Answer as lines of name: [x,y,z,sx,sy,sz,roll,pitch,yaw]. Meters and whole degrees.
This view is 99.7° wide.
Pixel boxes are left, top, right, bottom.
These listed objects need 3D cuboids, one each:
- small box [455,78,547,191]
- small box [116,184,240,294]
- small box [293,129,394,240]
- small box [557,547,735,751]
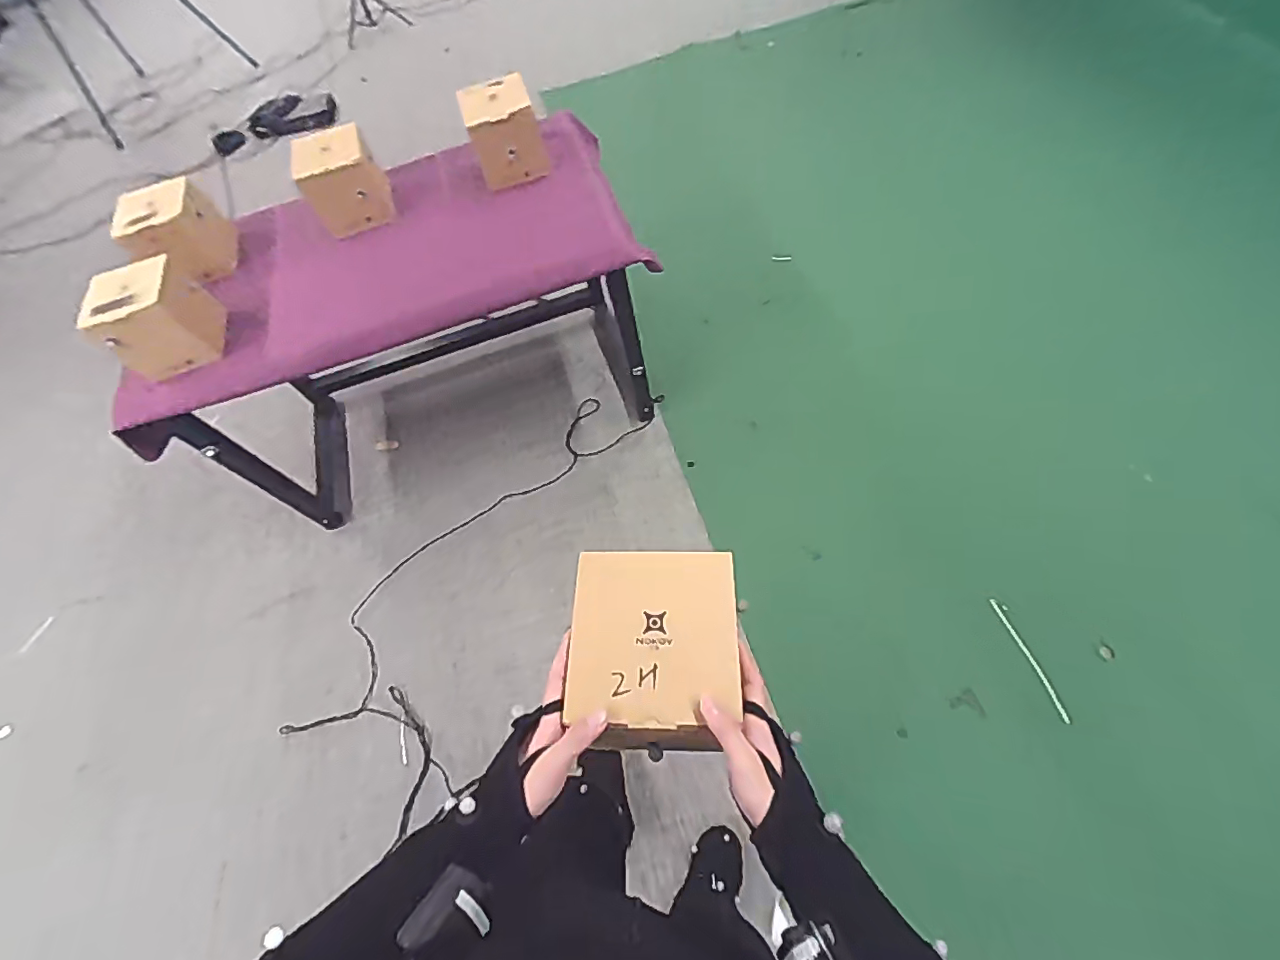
small box: [-0.348,-0.866,1.374,0.168,0.176,0.179,-19,62,-1]
small box: [-1.141,-0.591,1.350,0.168,0.176,0.179,-21,61,-3]
small box: [-0.744,-0.737,1.369,0.168,0.176,0.179,-20,61,-2]
small box: [0.013,0.190,0.600,0.168,0.176,0.179,-1,57,5]
